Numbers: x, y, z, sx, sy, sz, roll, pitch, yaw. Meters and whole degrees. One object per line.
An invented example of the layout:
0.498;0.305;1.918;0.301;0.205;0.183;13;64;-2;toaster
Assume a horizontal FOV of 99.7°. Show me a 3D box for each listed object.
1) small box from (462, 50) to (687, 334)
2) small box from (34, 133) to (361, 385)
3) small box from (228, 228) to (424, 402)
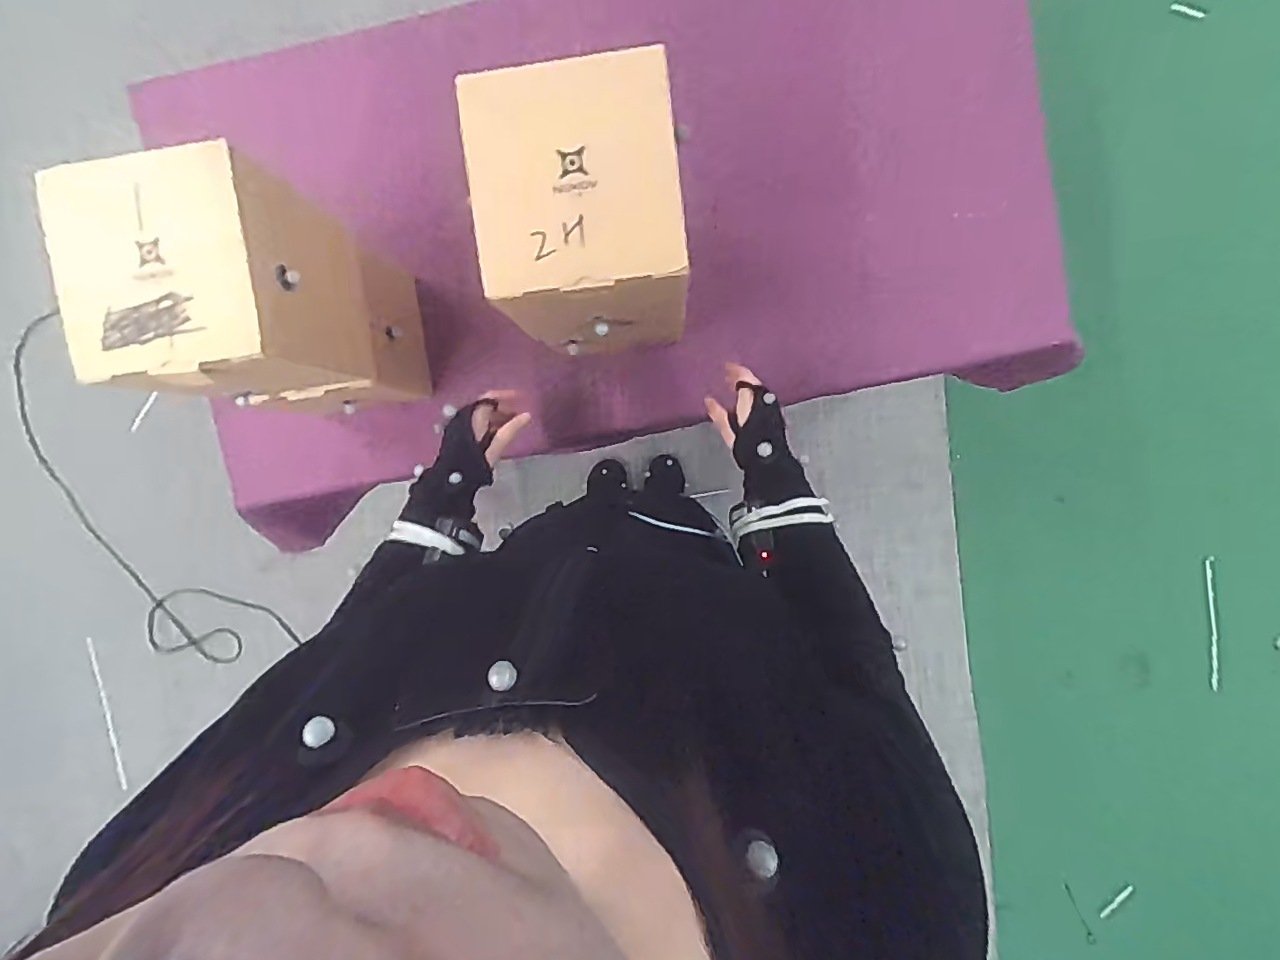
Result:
-0.050;-0.246;0.505;0.168;0.176;0.179;-6;95;2;small box
-0.395;-0.188;0.518;0.168;0.176;0.179;-7;94;2;small box
-0.393;-0.194;0.683;0.168;0.176;0.179;-7;95;1;small box
